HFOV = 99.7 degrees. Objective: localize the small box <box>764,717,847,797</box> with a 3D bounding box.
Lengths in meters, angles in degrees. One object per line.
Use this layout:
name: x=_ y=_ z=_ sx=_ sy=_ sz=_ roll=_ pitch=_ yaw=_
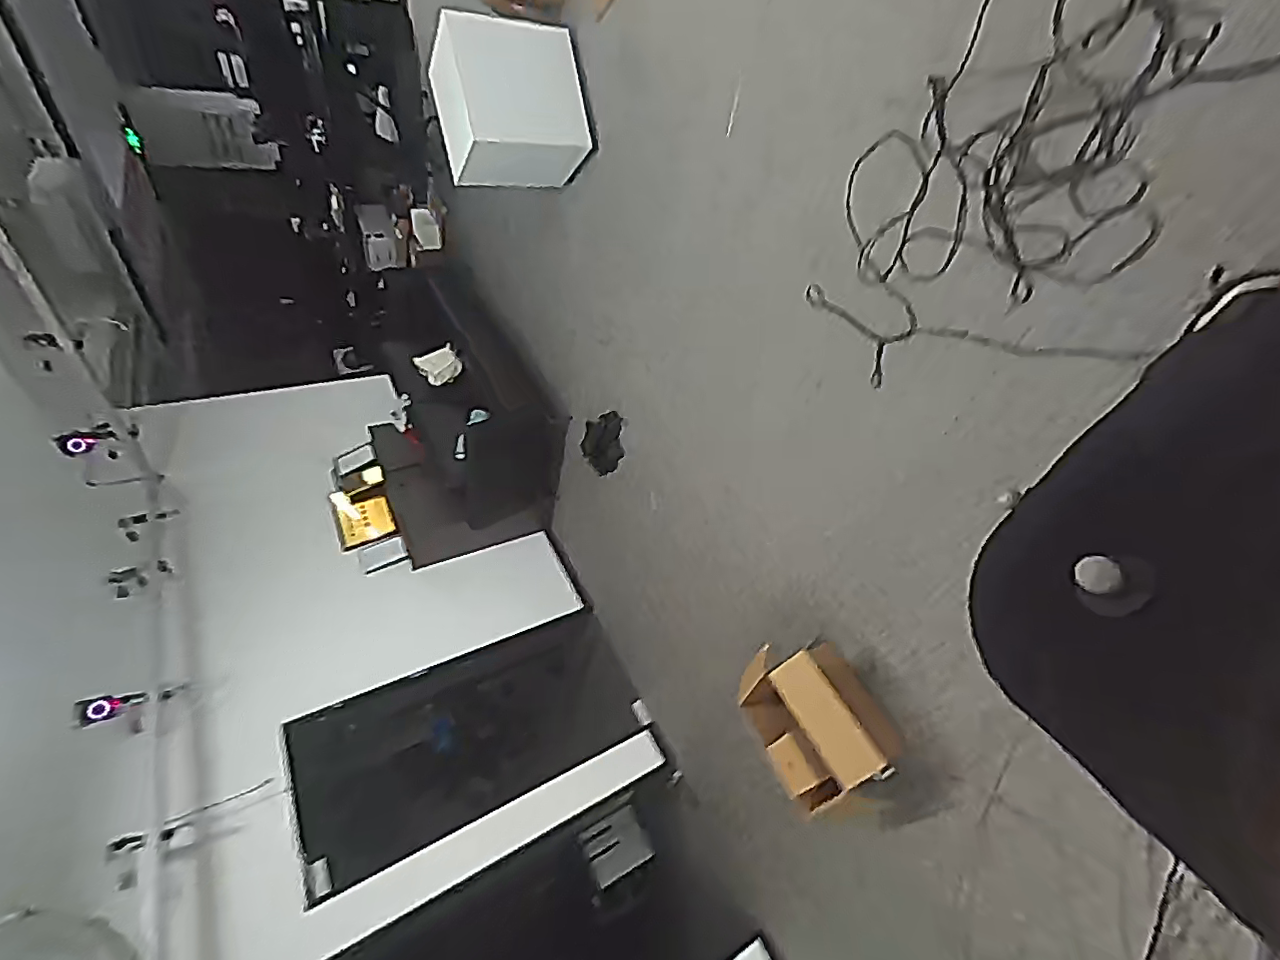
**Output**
small box: x=0.556 y=0.927 z=1.814 sx=0.168 sy=0.176 sz=0.179 roll=59 pitch=145 yaw=31
